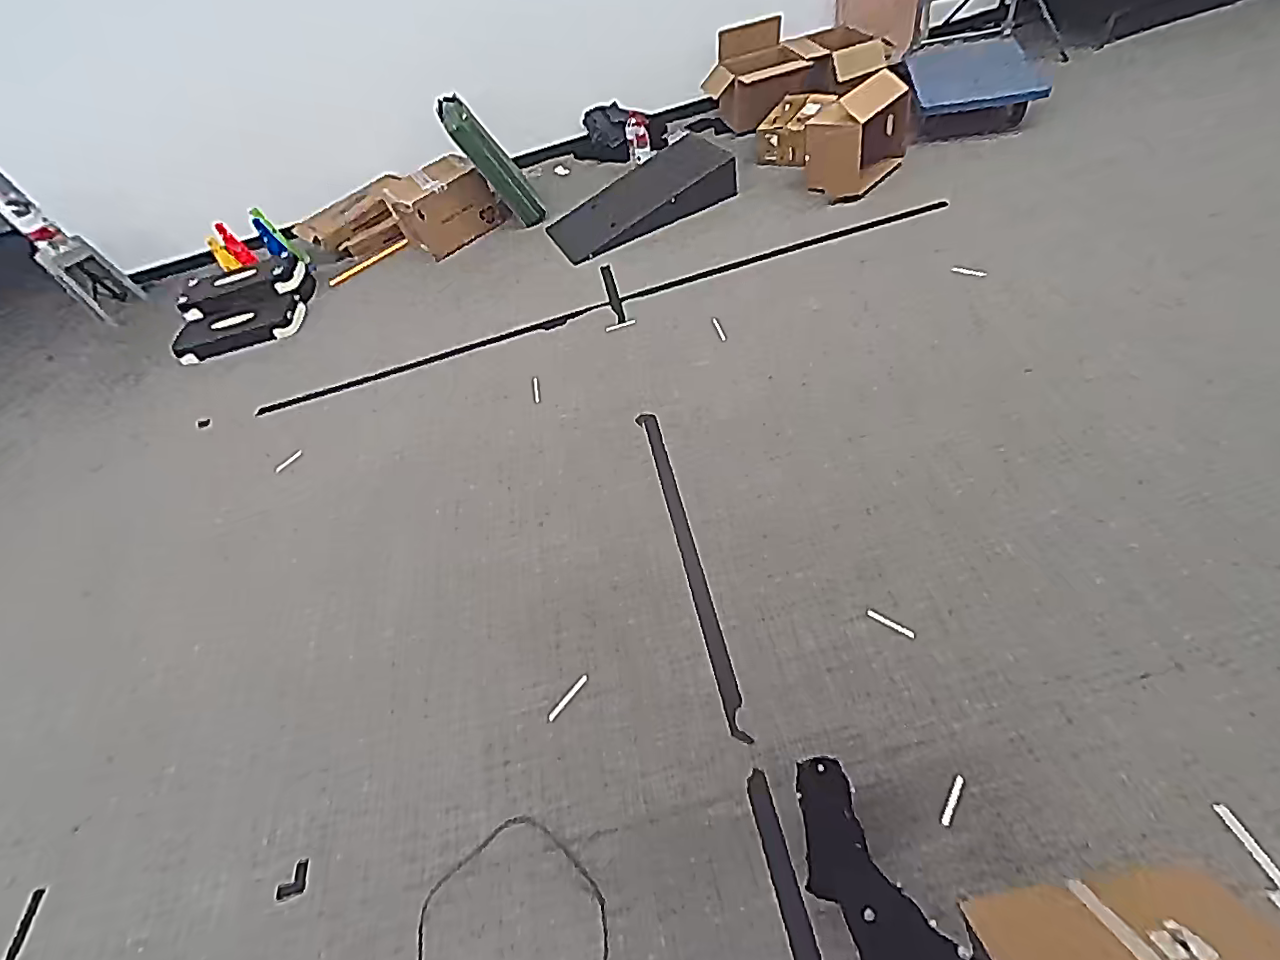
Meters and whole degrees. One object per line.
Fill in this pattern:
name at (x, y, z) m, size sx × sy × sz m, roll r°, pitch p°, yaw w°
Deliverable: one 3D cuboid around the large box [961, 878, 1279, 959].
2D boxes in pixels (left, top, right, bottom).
large box at (0.619, 0.708, 0.550) m, size 0.320 × 0.408 × 0.320 m, roll -14°, pitch 80°, yaw 7°
